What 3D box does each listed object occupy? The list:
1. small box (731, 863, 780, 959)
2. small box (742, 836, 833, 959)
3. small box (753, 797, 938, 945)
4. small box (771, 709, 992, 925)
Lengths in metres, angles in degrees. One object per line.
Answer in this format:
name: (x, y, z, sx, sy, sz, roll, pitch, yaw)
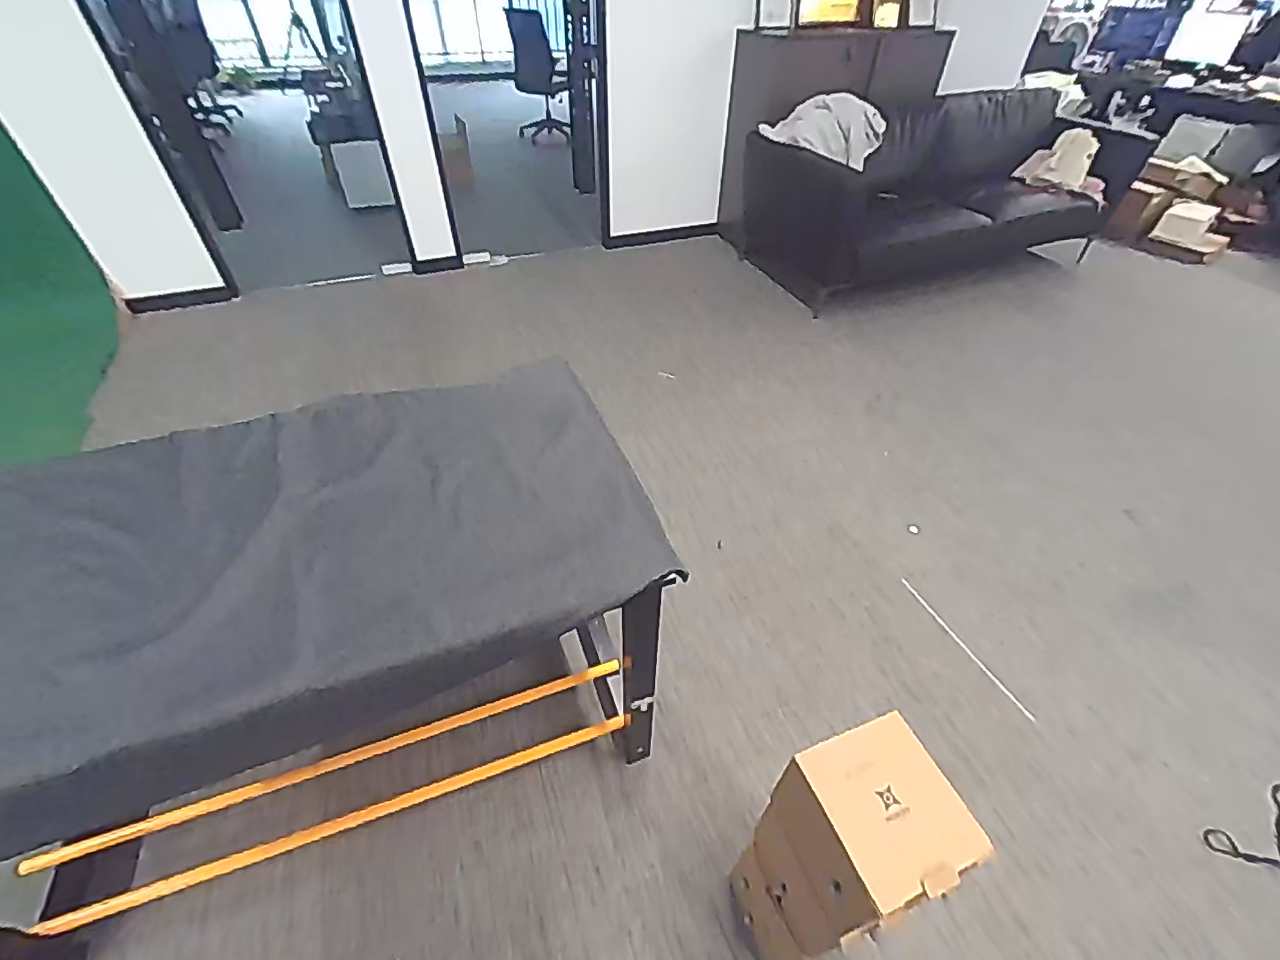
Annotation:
small box: (0.294, 0.797, 1.037, 0.179, 0.176, 0.168, -13, 45, -16)
small box: (0.287, 0.684, 0.919, 0.179, 0.176, 0.168, -15, 46, -18)
small box: (0.292, 0.560, 0.811, 0.168, 0.176, 0.179, -13, 47, -17)
small box: (0.295, 0.439, 0.703, 0.168, 0.176, 0.179, -14, 45, -17)
